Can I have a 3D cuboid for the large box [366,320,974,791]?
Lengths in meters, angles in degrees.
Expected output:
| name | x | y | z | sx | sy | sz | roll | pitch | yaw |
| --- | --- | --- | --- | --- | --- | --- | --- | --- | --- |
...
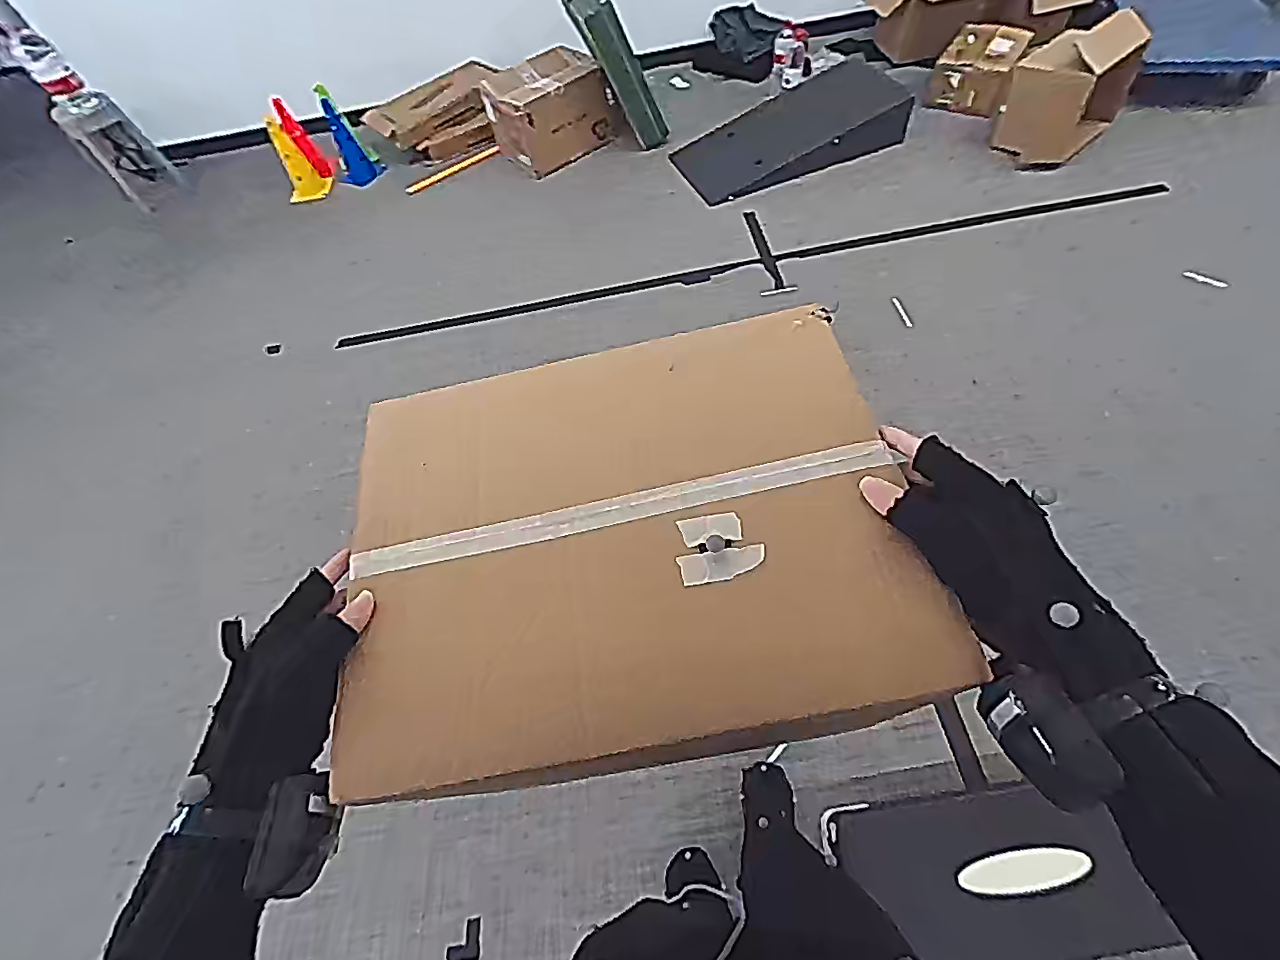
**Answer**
| name | x | y | z | sx | sy | sz | roll | pitch | yaw |
| --- | --- | --- | --- | --- | --- | --- | --- | --- | --- |
| large box | 0.010 | 0.099 | 0.542 | 0.408 | 0.320 | 0.320 | -12 | 61 | 2 |
